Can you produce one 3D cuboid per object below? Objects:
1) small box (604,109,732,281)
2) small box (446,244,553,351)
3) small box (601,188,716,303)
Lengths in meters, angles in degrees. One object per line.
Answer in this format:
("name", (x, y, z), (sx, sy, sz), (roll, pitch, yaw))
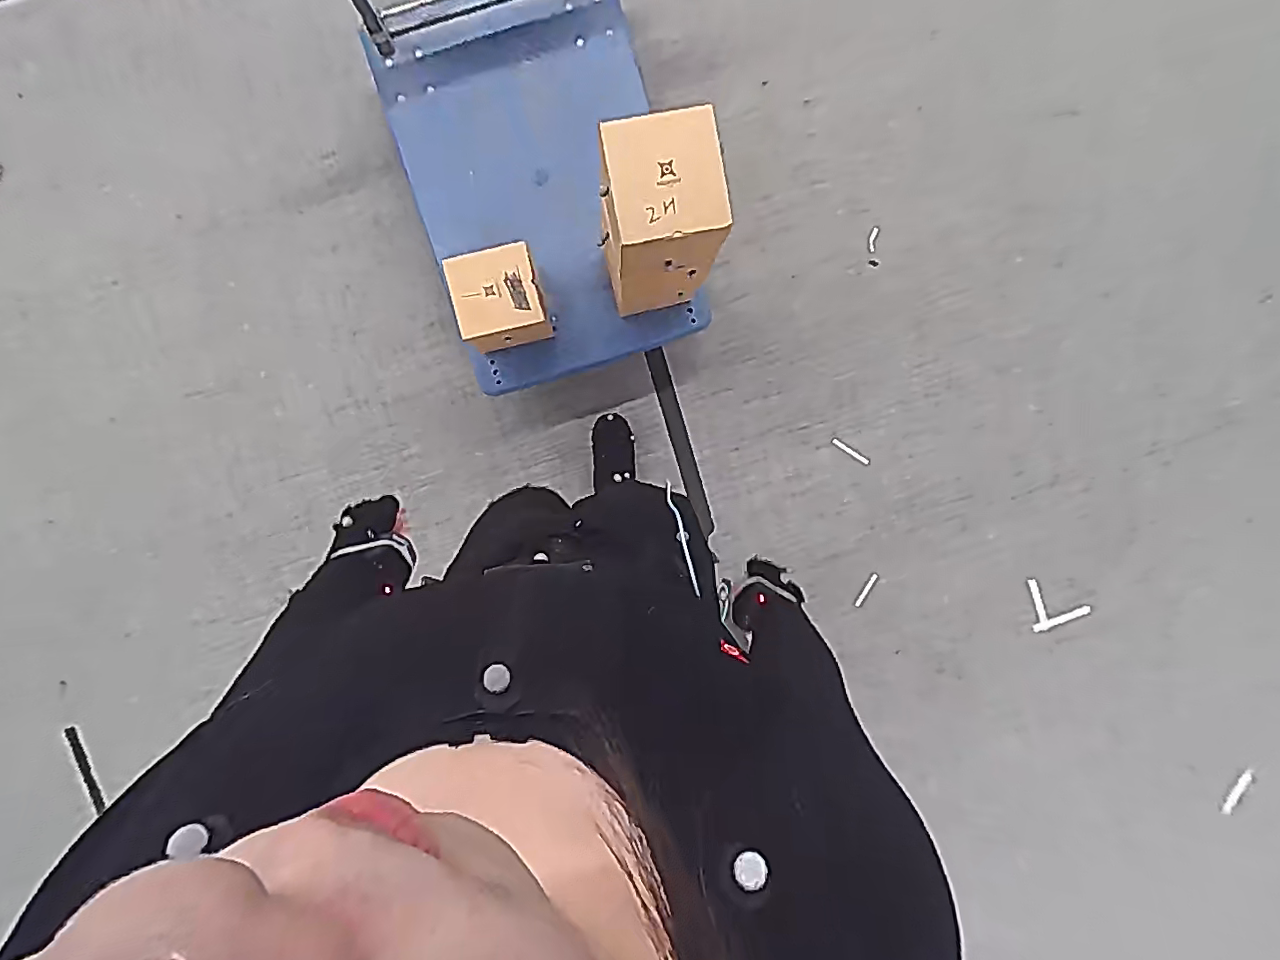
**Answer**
("small box", (0.036, -0.437, 0.853), (0.168, 0.176, 0.179), (-11, 95, -1))
("small box", (-0.293, -0.387, 1.175), (0.179, 0.176, 0.168), (-13, 95, 0))
("small box", (0.031, -0.447, 1.018), (0.179, 0.176, 0.168), (-12, 95, -2))
